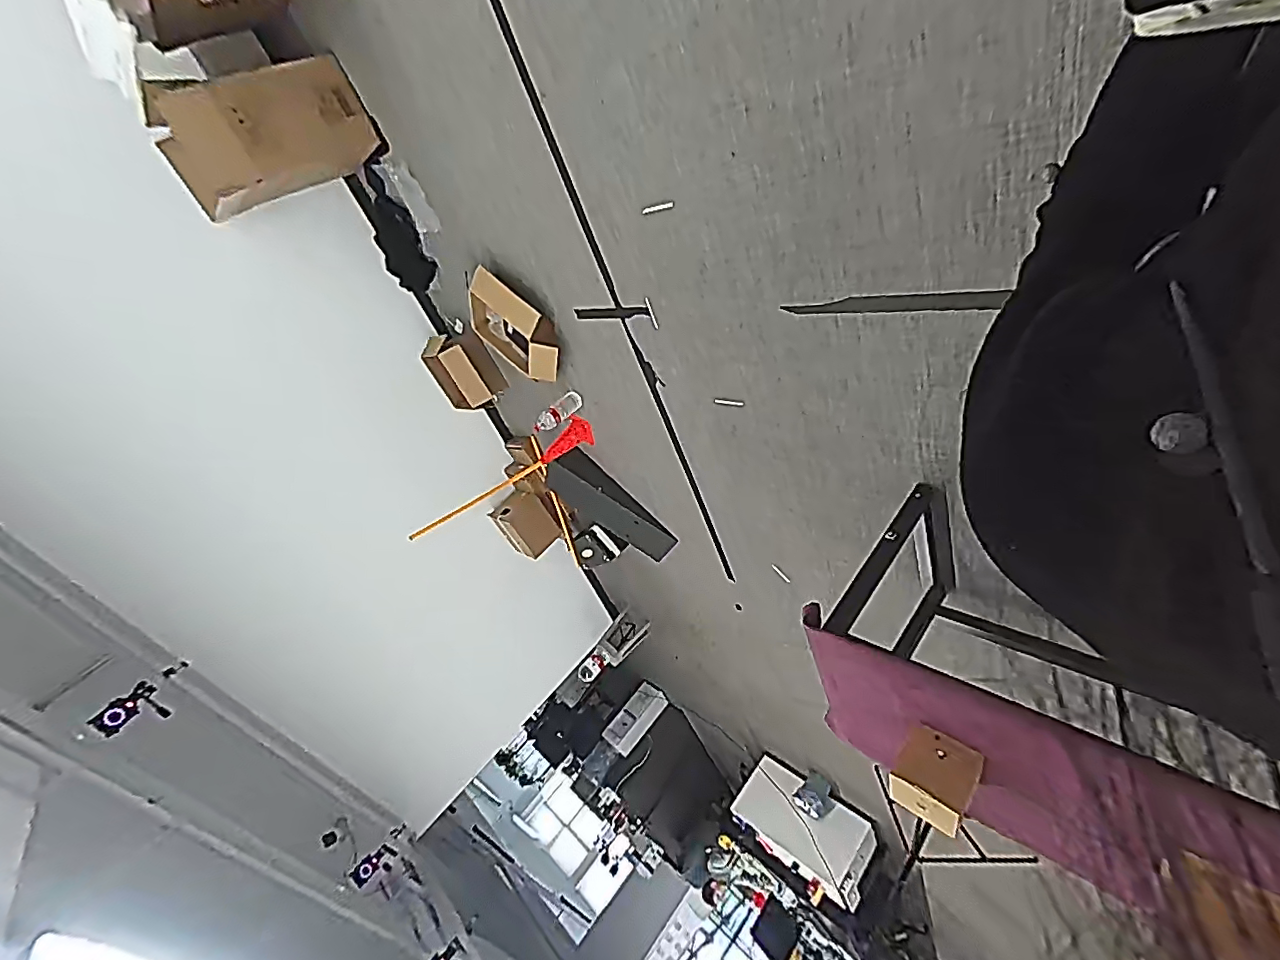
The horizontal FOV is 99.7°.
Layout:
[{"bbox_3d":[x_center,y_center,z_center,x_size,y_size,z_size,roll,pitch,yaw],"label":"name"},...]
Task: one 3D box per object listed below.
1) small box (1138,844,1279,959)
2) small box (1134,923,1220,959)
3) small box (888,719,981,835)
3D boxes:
[{"bbox_3d":[1.098,0.850,1.039,0.168,0.176,0.179,17,141,45],"label":"small box"},{"bbox_3d":[0.995,0.956,0.969,0.168,0.176,0.179,16,141,45],"label":"small box"},{"bbox_3d":[0.763,0.766,1.406,0.168,0.176,0.179,20,143,41],"label":"small box"}]
